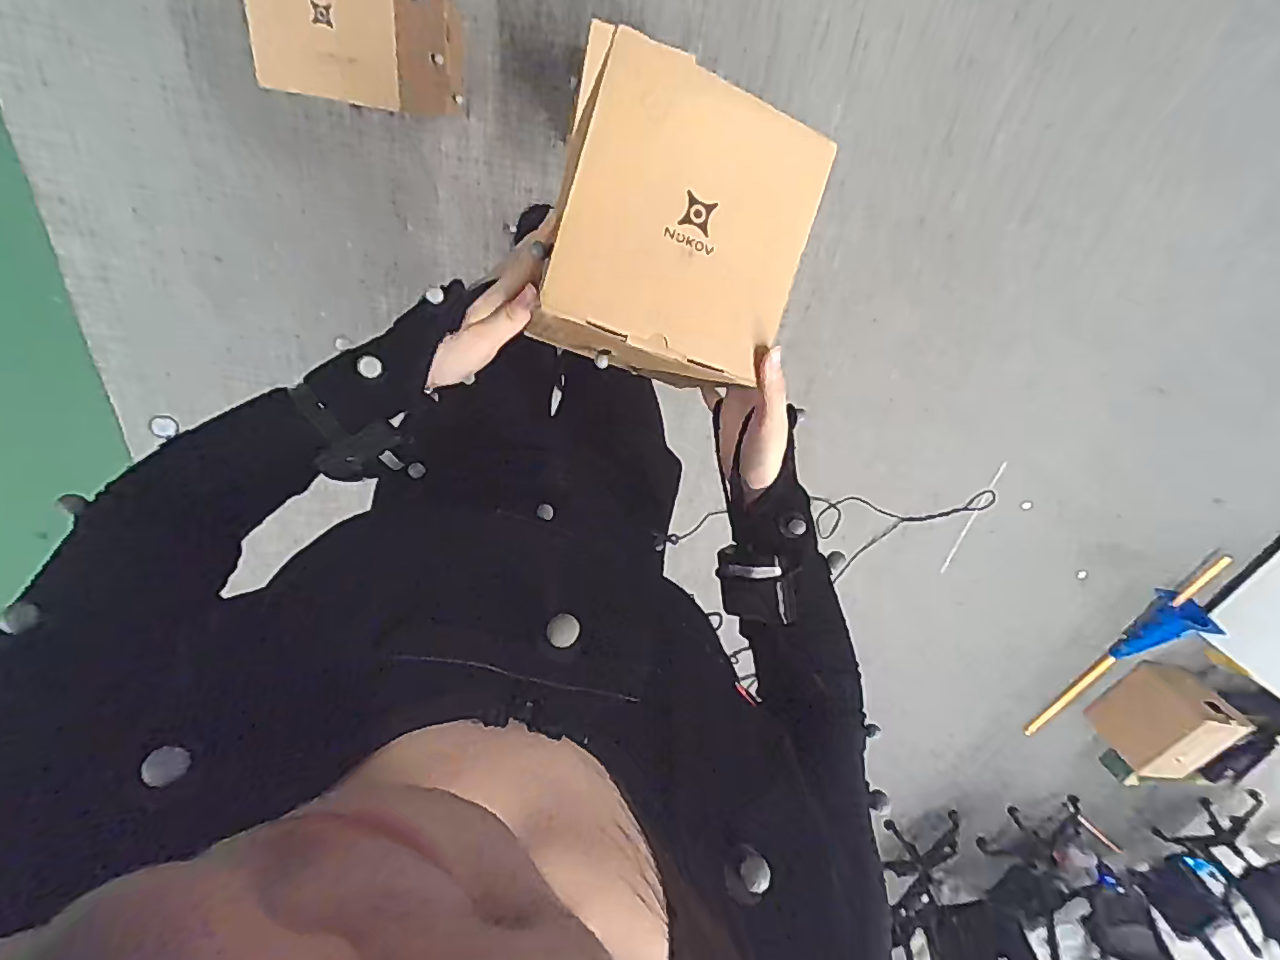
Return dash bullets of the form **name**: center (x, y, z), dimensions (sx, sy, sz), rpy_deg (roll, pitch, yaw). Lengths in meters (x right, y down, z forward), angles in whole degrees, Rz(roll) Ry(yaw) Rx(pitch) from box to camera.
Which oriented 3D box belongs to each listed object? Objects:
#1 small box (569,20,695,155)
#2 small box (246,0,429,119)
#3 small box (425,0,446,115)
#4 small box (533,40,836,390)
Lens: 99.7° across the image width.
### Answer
- **small box**: center (-0.025, -0.628, 0.913), dimensions (0.168, 0.176, 0.179), rpy_deg (9, 121, -14)
- **small box**: center (-0.375, -0.580, 0.691), dimensions (0.168, 0.176, 0.179), rpy_deg (4, 122, -10)
- **small box**: center (-0.398, -0.672, 0.824), dimensions (0.168, 0.176, 0.179), rpy_deg (3, 123, -10)
- **small box**: center (0.018, -0.182, 0.438), dimensions (0.168, 0.176, 0.179), rpy_deg (15, 96, -19)
